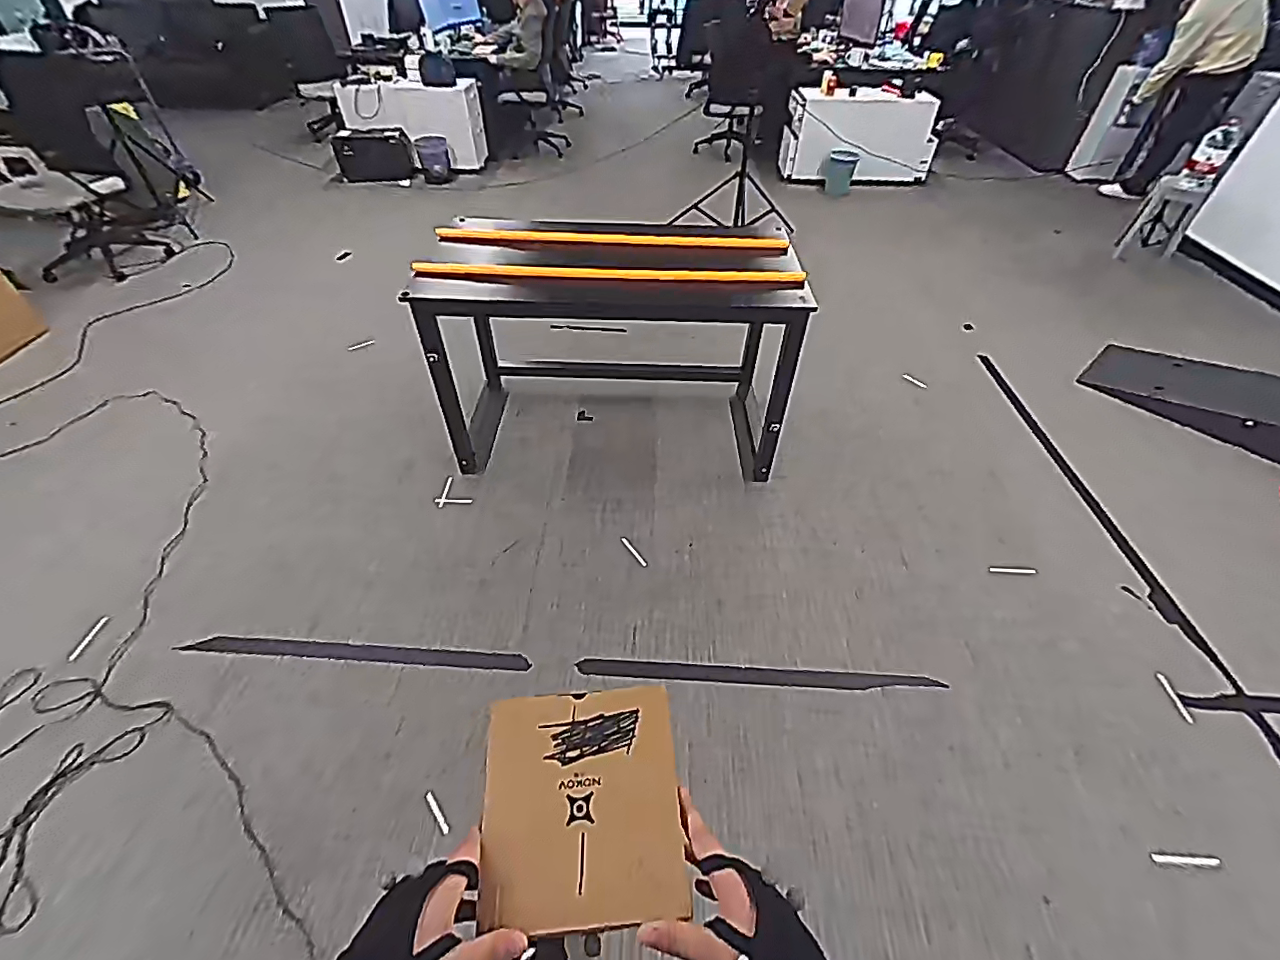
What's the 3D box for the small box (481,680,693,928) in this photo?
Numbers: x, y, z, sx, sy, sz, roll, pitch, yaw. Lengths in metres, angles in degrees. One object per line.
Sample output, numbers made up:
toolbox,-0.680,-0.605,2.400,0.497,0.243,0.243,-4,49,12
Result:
small box,-0.043,0.316,0.526,0.168,0.176,0.179,-5,50,-1
